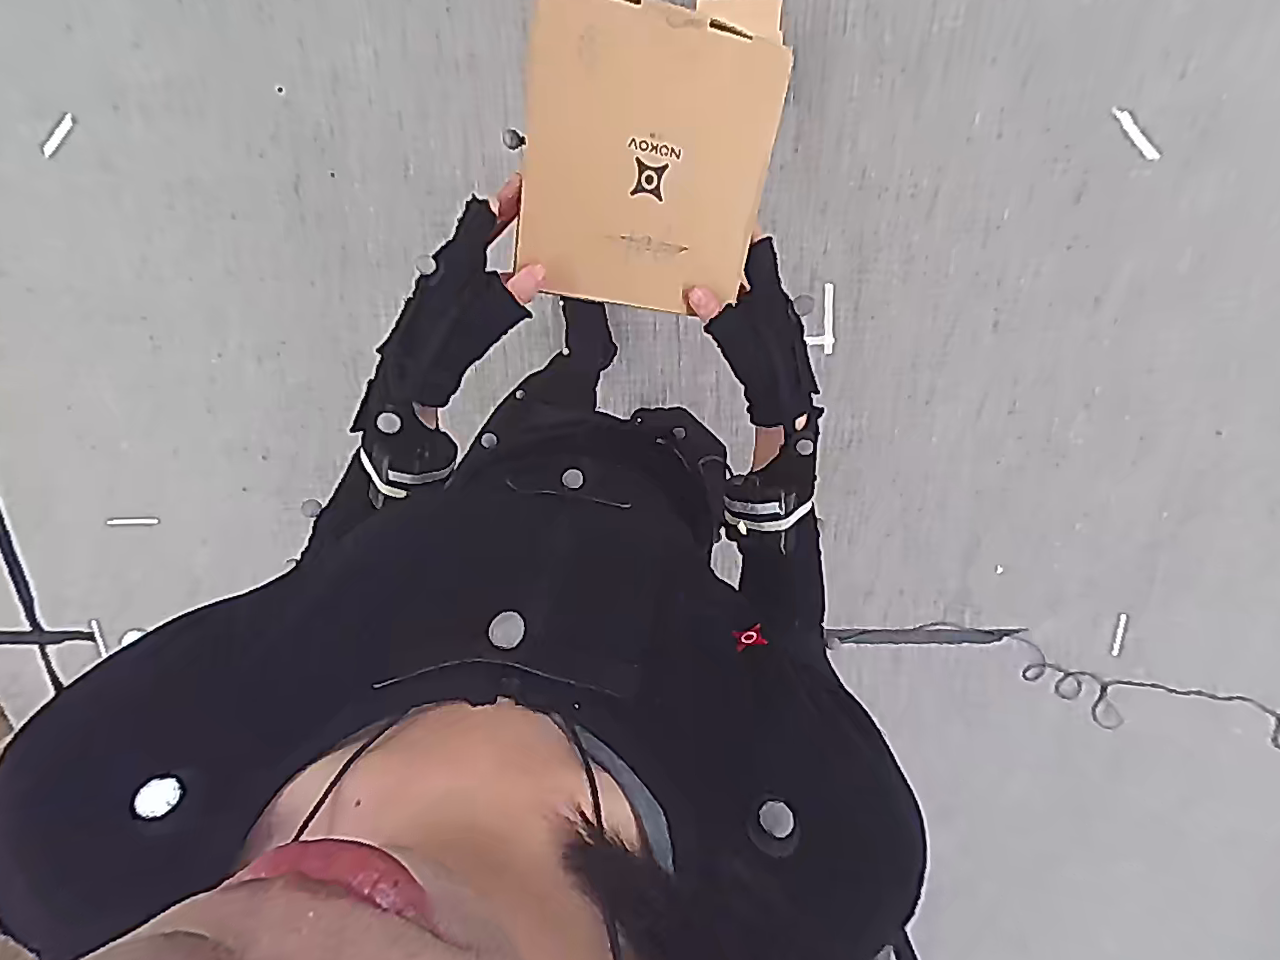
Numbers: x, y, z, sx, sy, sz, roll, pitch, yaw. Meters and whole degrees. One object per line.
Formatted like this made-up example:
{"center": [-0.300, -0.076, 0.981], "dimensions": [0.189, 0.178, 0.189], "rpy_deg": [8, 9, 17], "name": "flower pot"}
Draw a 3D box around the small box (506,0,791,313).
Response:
{"center": [-0.014, -0.246, 0.423], "dimensions": [0.168, 0.176, 0.179], "rpy_deg": [4, 116, -16], "name": "small box"}
